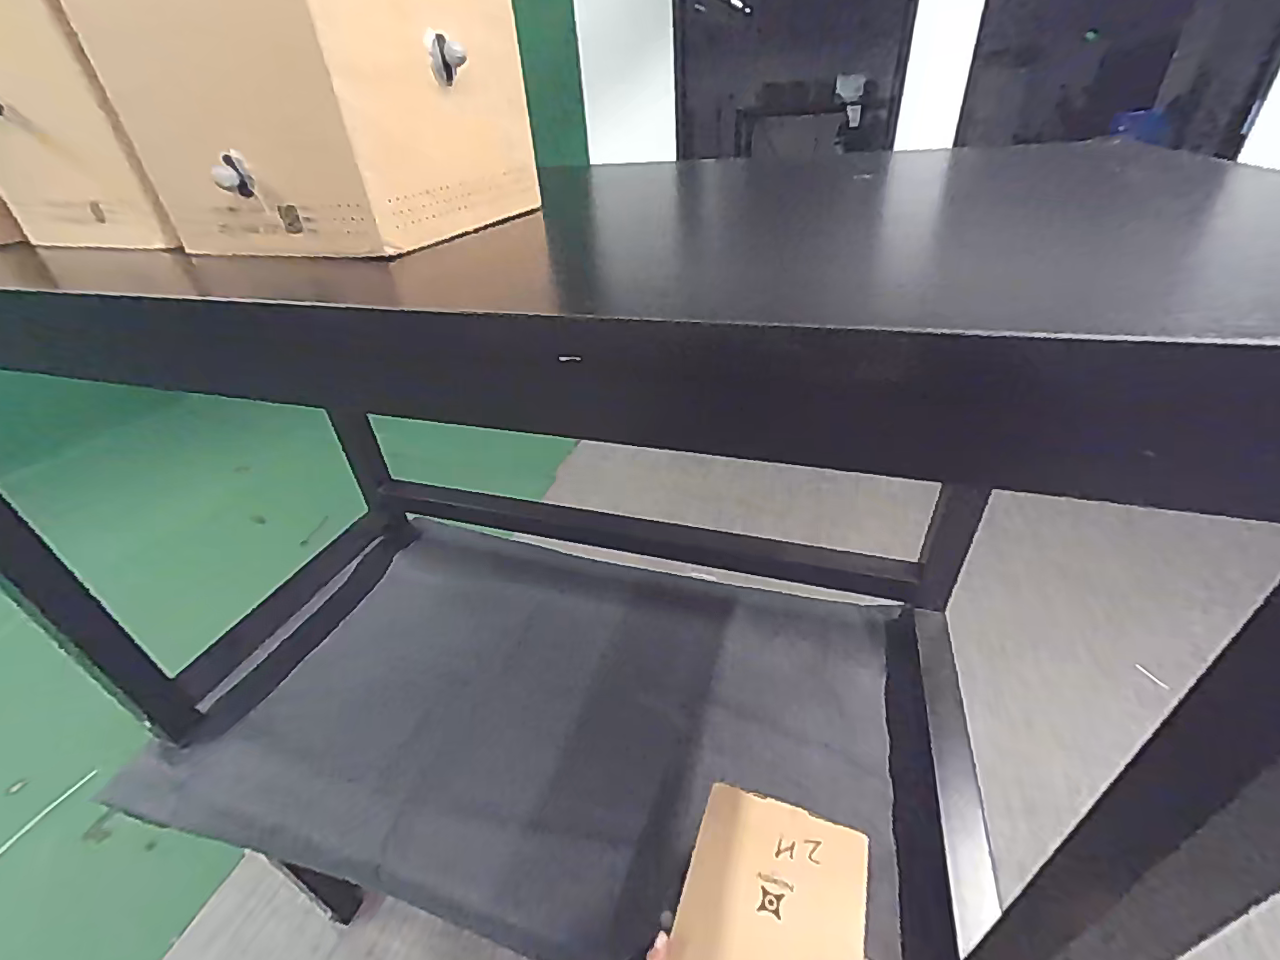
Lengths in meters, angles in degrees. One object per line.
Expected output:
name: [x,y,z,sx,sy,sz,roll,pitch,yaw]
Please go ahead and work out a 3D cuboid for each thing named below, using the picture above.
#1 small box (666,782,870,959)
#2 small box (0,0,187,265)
small box: [0.134,0.465,0.559,0.168,0.176,0.179,10,34,20]
small box: [-0.551,-0.298,0.469,0.168,0.176,0.179,9,37,18]
